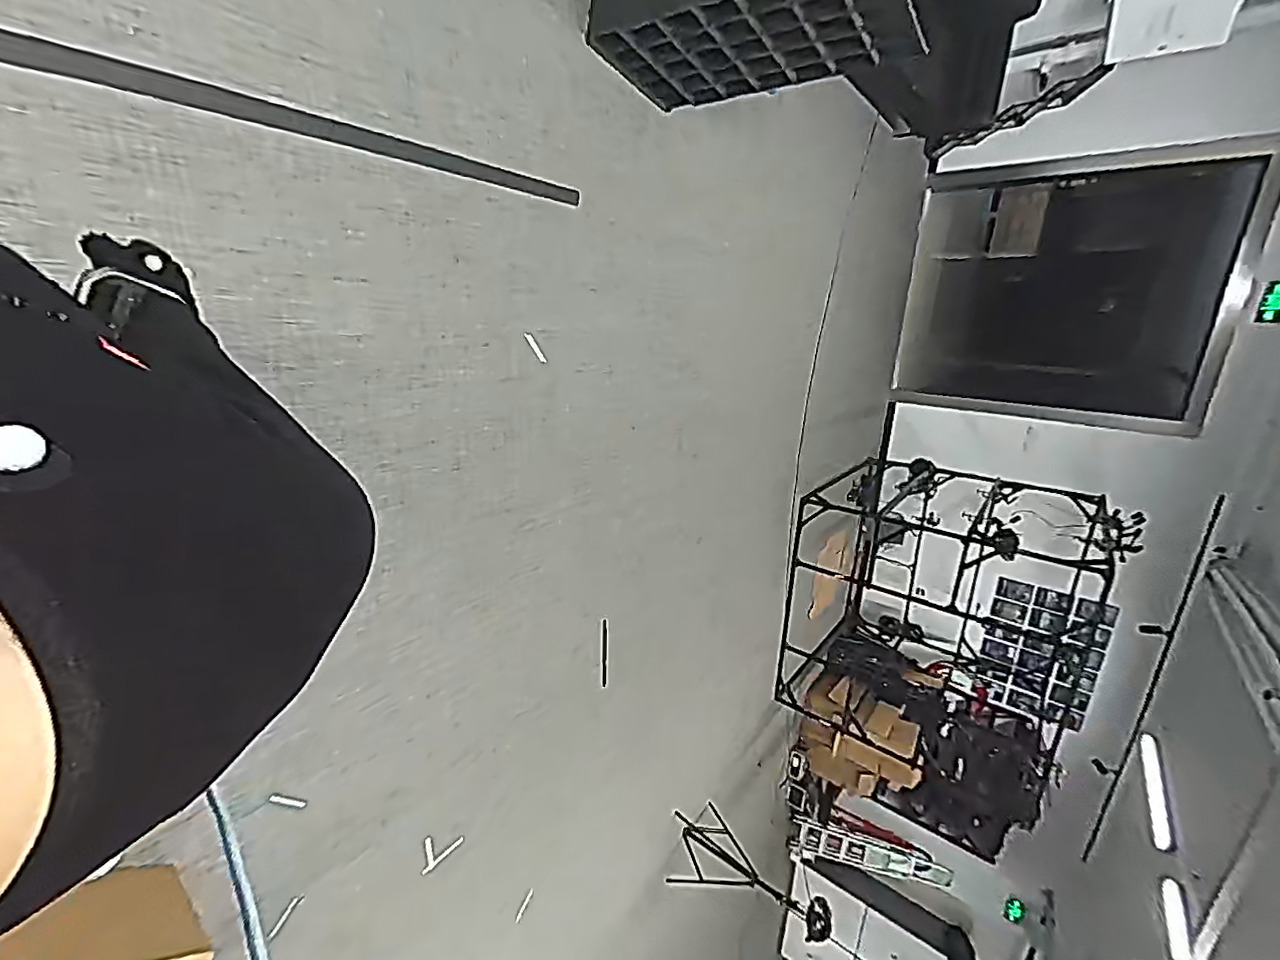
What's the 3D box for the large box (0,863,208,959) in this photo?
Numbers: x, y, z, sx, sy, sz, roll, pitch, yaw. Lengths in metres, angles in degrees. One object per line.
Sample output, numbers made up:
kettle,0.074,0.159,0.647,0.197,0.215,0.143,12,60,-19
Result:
large box,-1.213,1.038,1.084,0.408,0.320,0.320,45,65,-50
